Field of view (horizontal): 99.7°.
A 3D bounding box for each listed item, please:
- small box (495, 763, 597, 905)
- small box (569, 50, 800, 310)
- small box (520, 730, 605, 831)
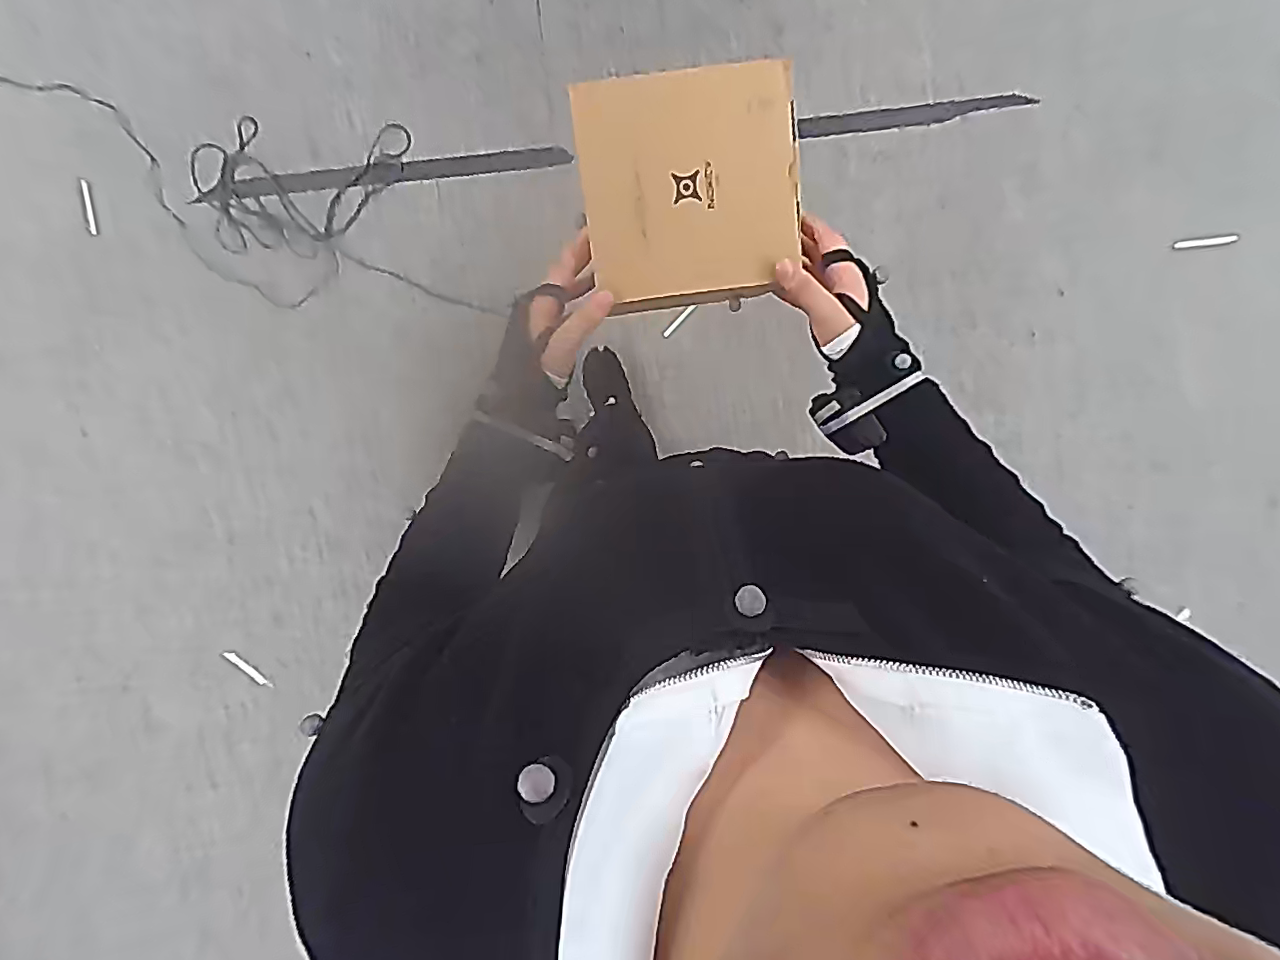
[{"bbox_3d":[-0.188,0.730,1.130,0.168,0.176,0.179,-9,95,1],"label":"small box"},{"bbox_3d":[0.037,-0.264,0.517,0.179,0.176,0.168,-8,103,1],"label":"small box"},{"bbox_3d":[-0.176,0.710,1.293,0.168,0.176,0.179,-9,95,1],"label":"small box"}]
